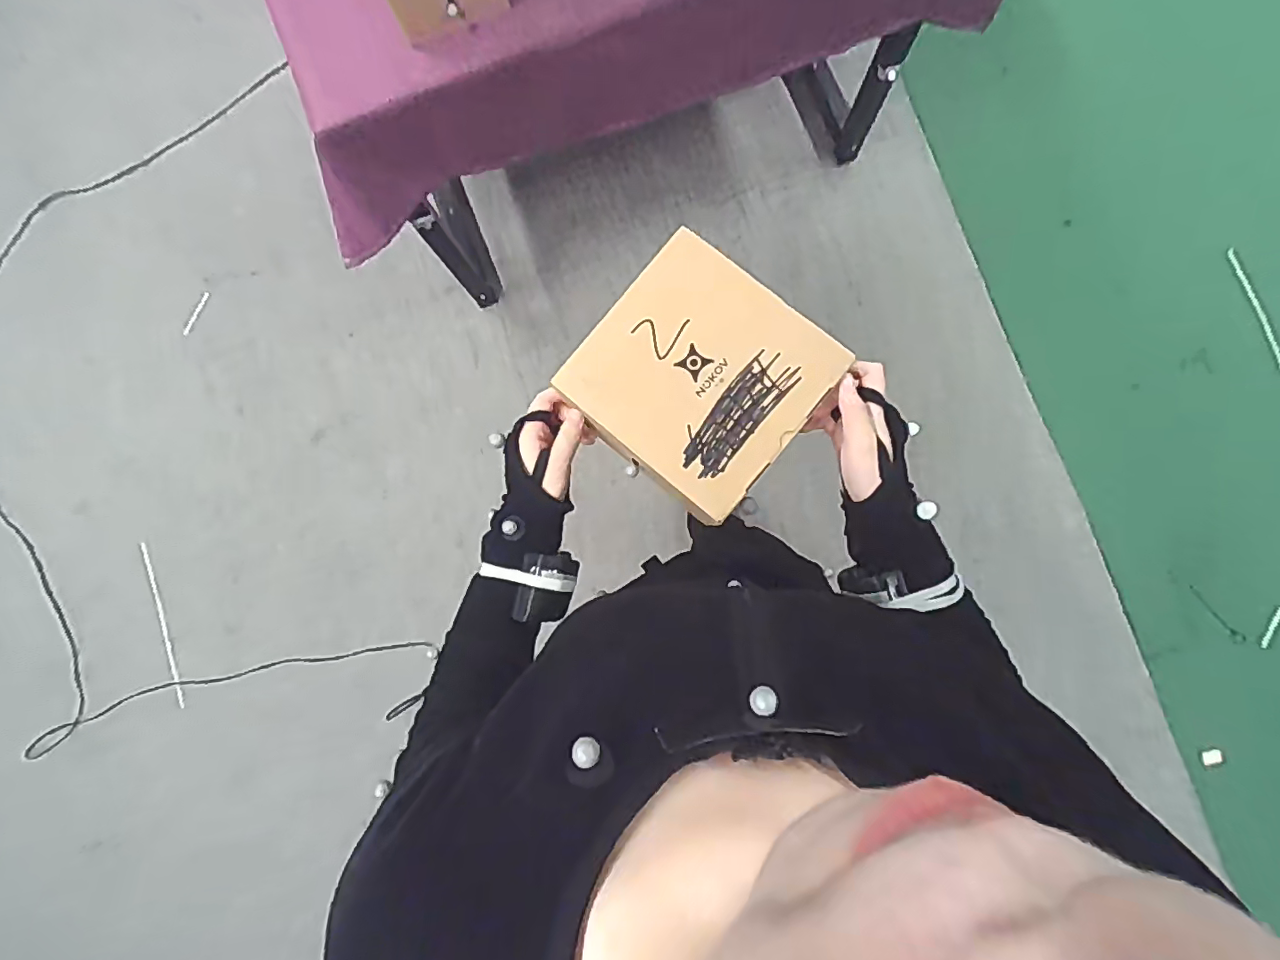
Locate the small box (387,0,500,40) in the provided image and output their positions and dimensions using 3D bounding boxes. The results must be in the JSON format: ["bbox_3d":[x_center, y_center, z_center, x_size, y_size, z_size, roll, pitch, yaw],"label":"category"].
[{"bbox_3d":[-0.315,-0.805,0.789,0.179,0.176,0.168,-19,83,0],"label":"small box"}]
